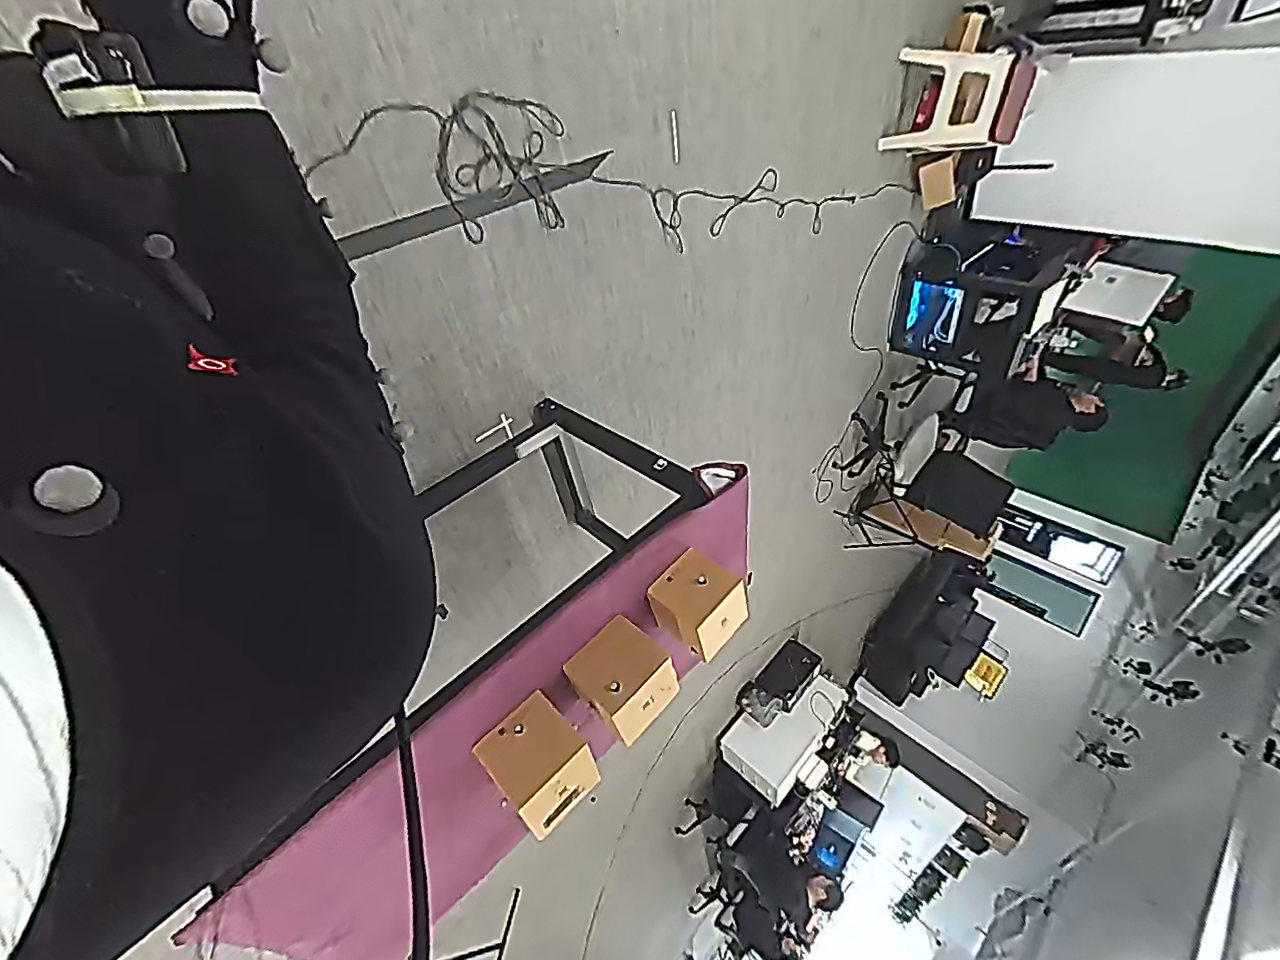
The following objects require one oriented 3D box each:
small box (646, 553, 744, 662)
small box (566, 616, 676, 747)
[{"bbox_3d":[0.133,0.302,1.322,0.168,0.176,0.179,-42,140,-23],"label":"small box"},{"bbox_3d":[-0.046,0.442,1.204,0.179,0.176,0.168,-40,140,-25],"label":"small box"}]
